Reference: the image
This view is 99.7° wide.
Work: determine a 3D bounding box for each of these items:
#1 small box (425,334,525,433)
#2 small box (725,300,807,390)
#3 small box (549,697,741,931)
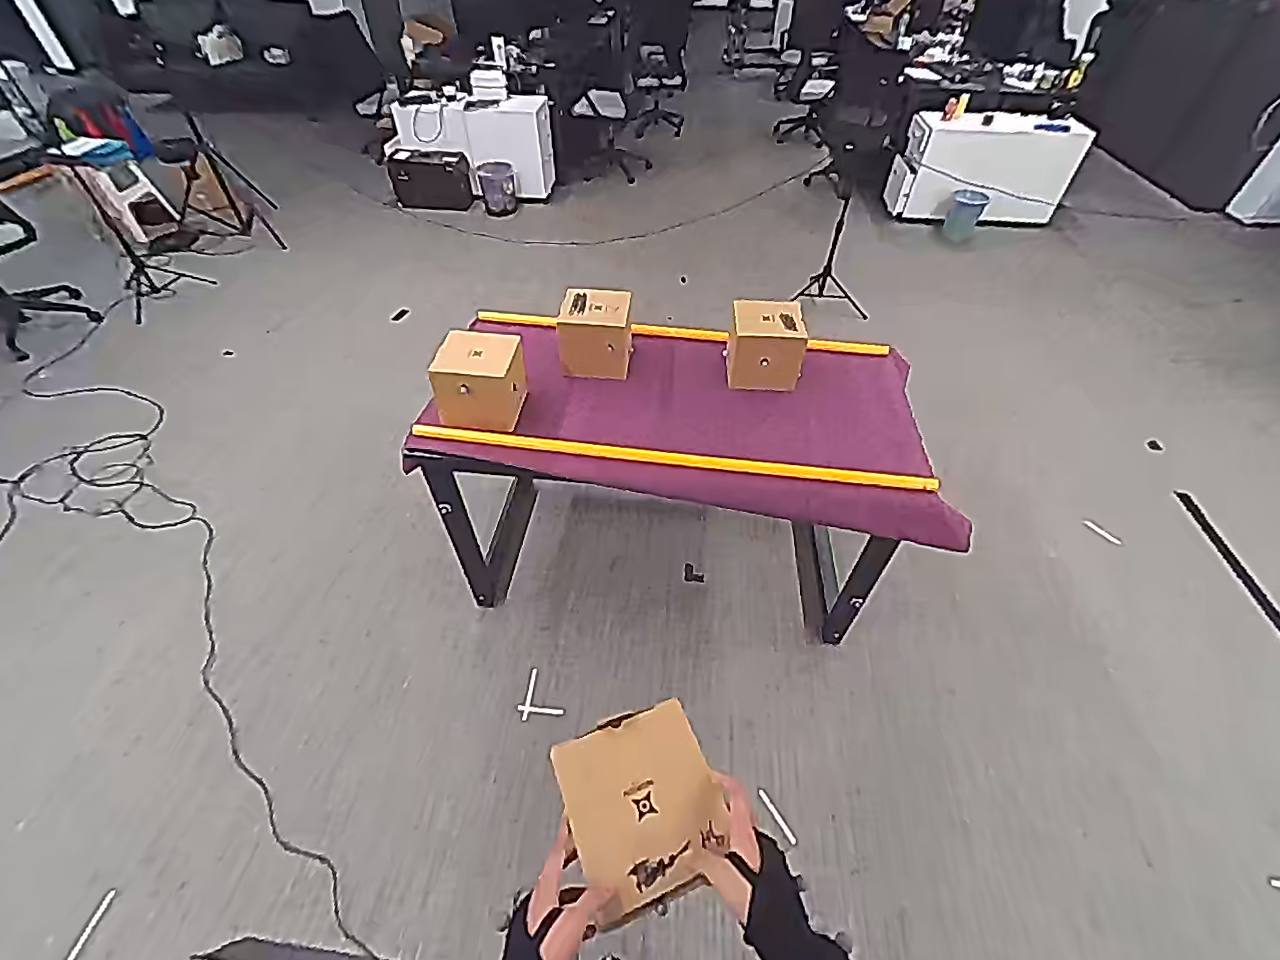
[{"bbox_3d":[-0.383,-0.228,1.298,0.179,0.176,0.168,4,47,2],"label":"small box"},{"bbox_3d":[0.321,-0.350,1.414,0.179,0.176,0.168,2,48,3],"label":"small box"},{"bbox_3d":[-0.003,0.398,0.647,0.168,0.176,0.179,-16,50,-15],"label":"small box"}]
